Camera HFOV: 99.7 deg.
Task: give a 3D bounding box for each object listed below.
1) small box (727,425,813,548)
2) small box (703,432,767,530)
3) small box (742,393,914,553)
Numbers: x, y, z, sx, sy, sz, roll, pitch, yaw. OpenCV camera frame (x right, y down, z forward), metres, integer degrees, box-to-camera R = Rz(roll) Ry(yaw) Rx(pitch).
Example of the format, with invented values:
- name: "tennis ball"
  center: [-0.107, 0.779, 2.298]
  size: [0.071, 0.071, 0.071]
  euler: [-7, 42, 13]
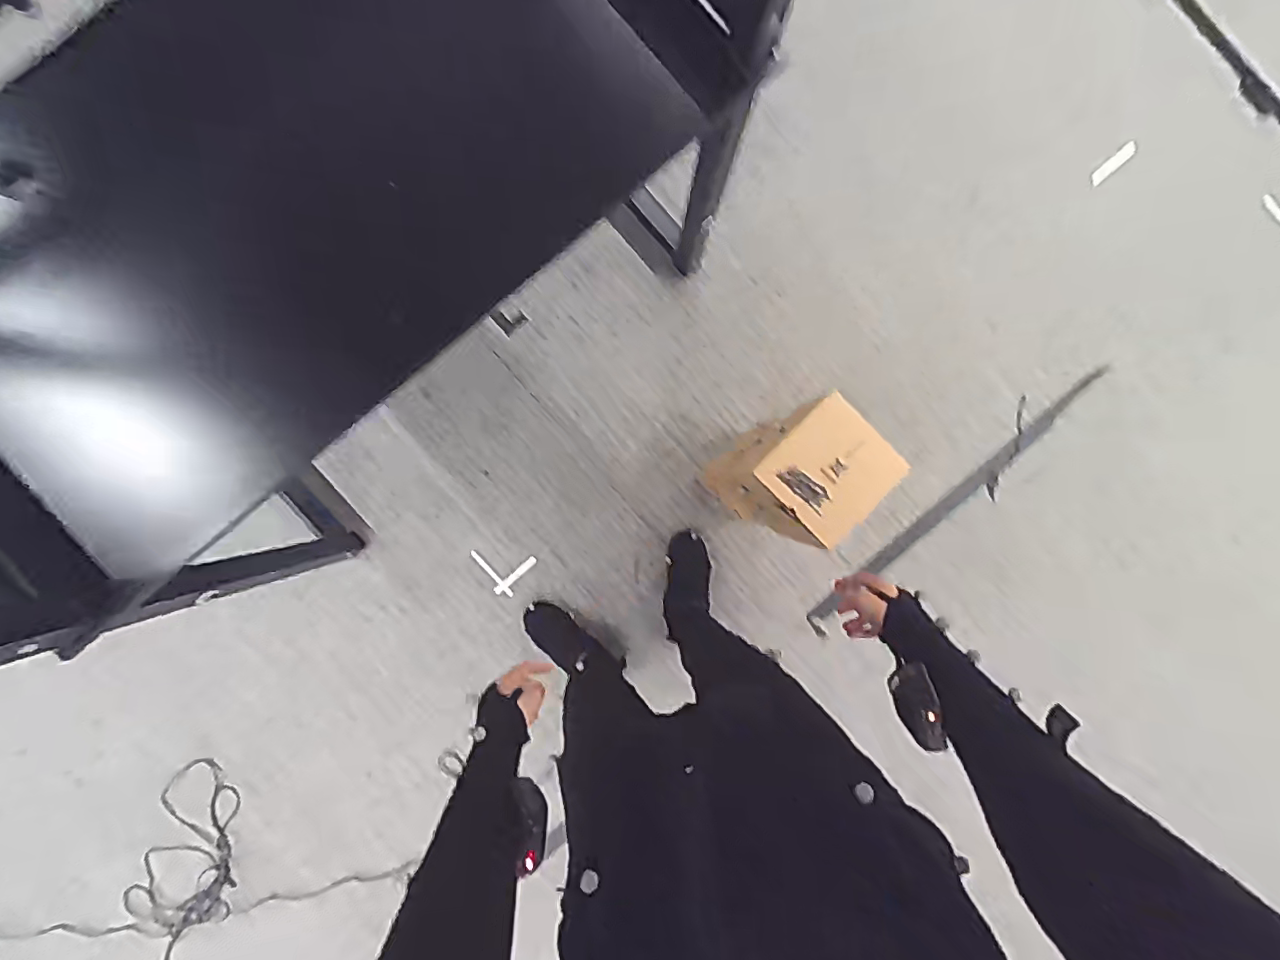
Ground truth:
- name: "small box"
  center: [0.292, 0.002, 1.027]
  size: [0.168, 0.176, 0.179]
  euler: [-44, 91, -1]
- name: "small box"
  center: [0.277, 0.001, 1.354]
  size: [0.179, 0.176, 0.168]
  euler: [-43, 90, -1]
- name: "small box"
  center: [0.282, -0.009, 0.863]
  size: [0.179, 0.176, 0.168]
  euler: [-45, 91, -1]
